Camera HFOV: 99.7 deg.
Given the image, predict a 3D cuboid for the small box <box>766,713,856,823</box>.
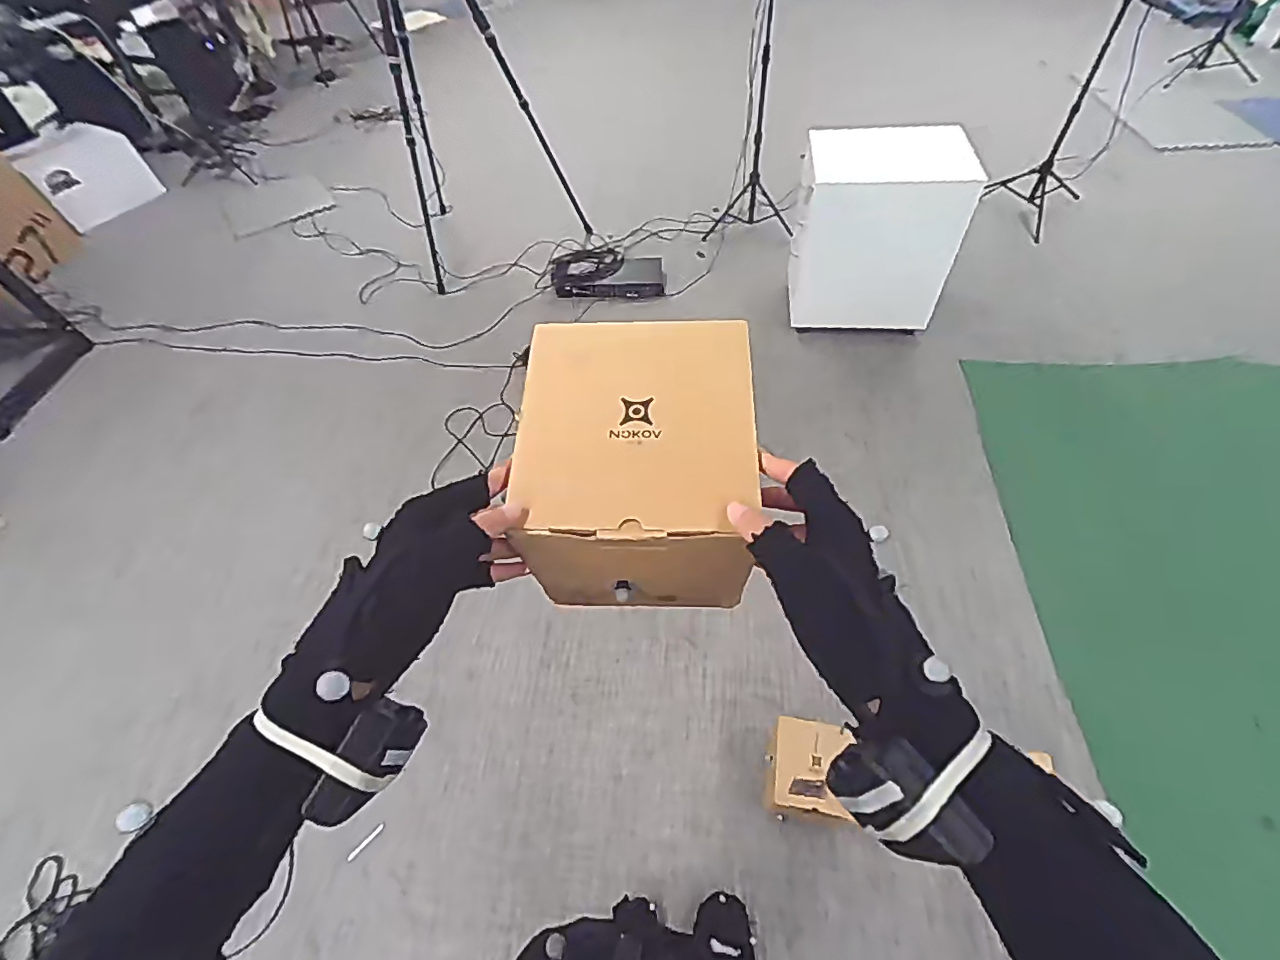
[{"bbox_3d":[0.375,0.641,1.197,0.168,0.176,0.179,7,54,10],"label":"small box"}]
